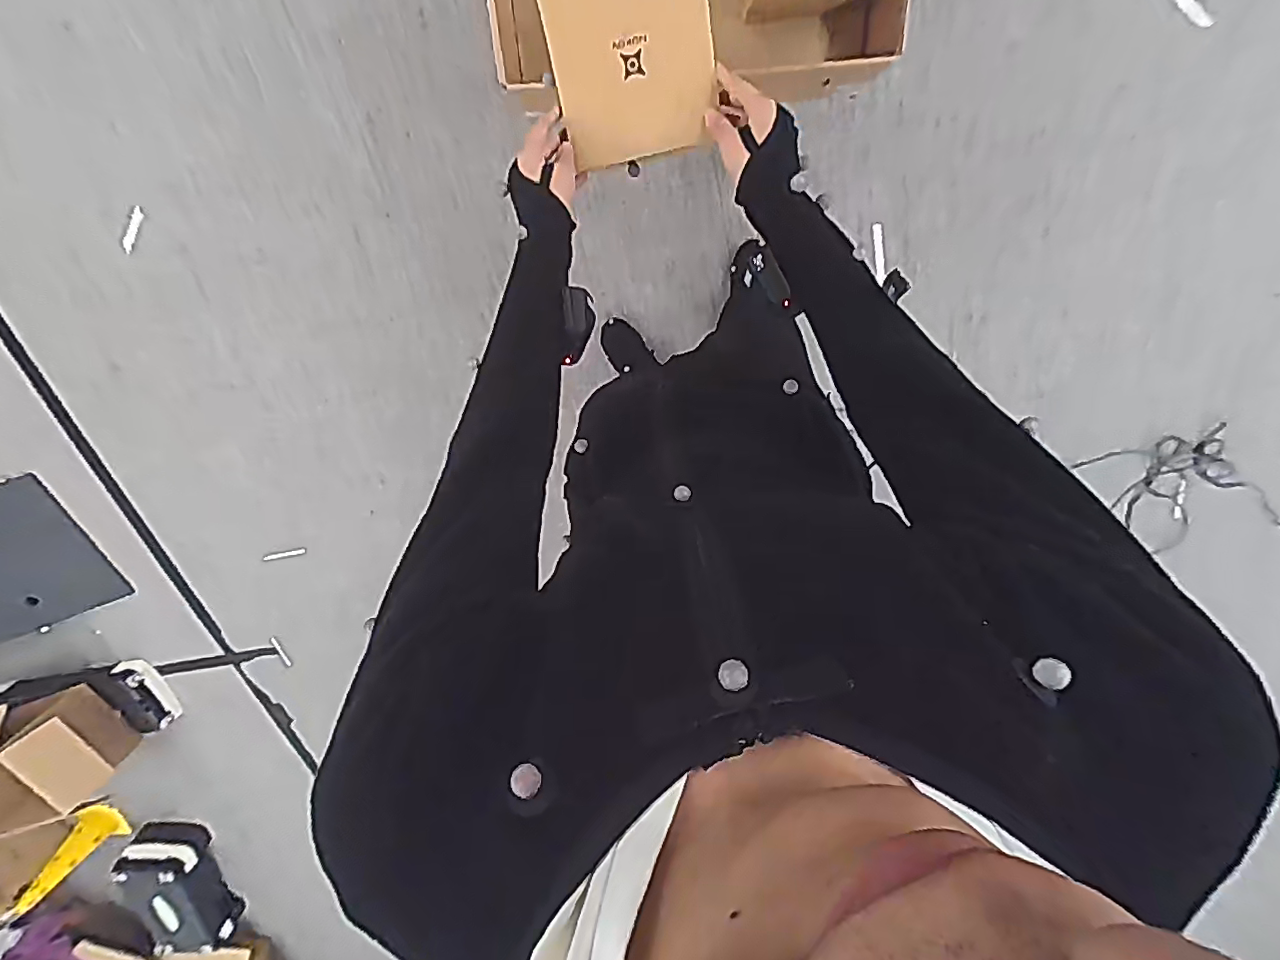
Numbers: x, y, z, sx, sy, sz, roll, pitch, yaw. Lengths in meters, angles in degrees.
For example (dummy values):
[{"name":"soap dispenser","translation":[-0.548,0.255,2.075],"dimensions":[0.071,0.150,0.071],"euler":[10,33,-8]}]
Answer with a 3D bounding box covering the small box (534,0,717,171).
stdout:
[{"name":"small box","translation":[-0.008,-0.464,0.610],"dimensions":[0.168,0.176,0.179],"euler":[-9,117,8]}]
